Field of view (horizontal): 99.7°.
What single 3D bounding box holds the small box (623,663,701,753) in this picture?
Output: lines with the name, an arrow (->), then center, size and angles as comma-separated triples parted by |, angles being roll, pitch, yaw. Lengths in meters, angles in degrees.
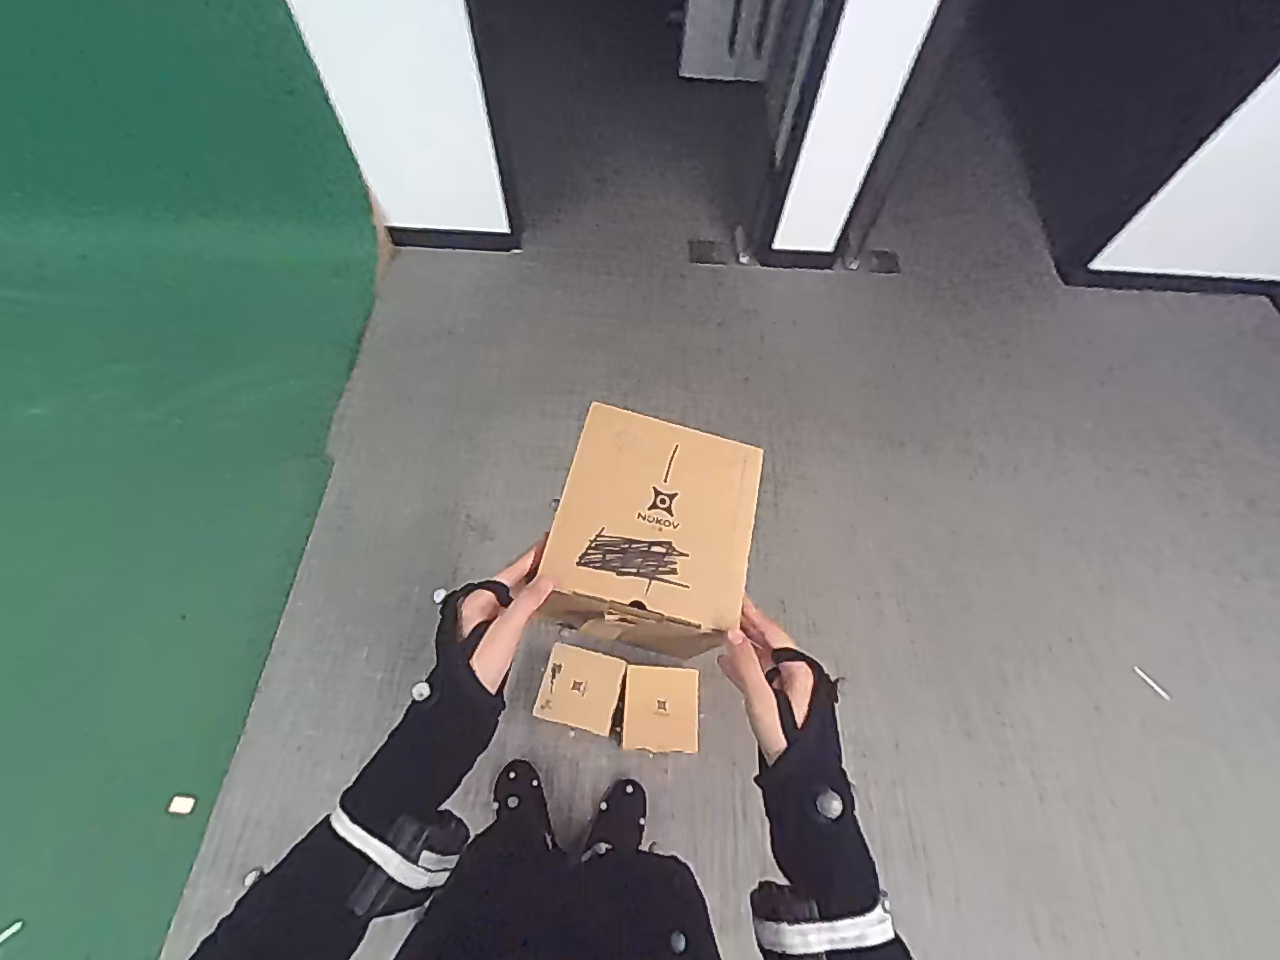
small box -> 0.049, 0.539, 1.269 | 0.168, 0.176, 0.179 | 4, 64, 0

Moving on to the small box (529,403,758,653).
small box -> 0.000, 0.058, 0.526 | 0.168, 0.176, 0.179 | 15, 64, -3
